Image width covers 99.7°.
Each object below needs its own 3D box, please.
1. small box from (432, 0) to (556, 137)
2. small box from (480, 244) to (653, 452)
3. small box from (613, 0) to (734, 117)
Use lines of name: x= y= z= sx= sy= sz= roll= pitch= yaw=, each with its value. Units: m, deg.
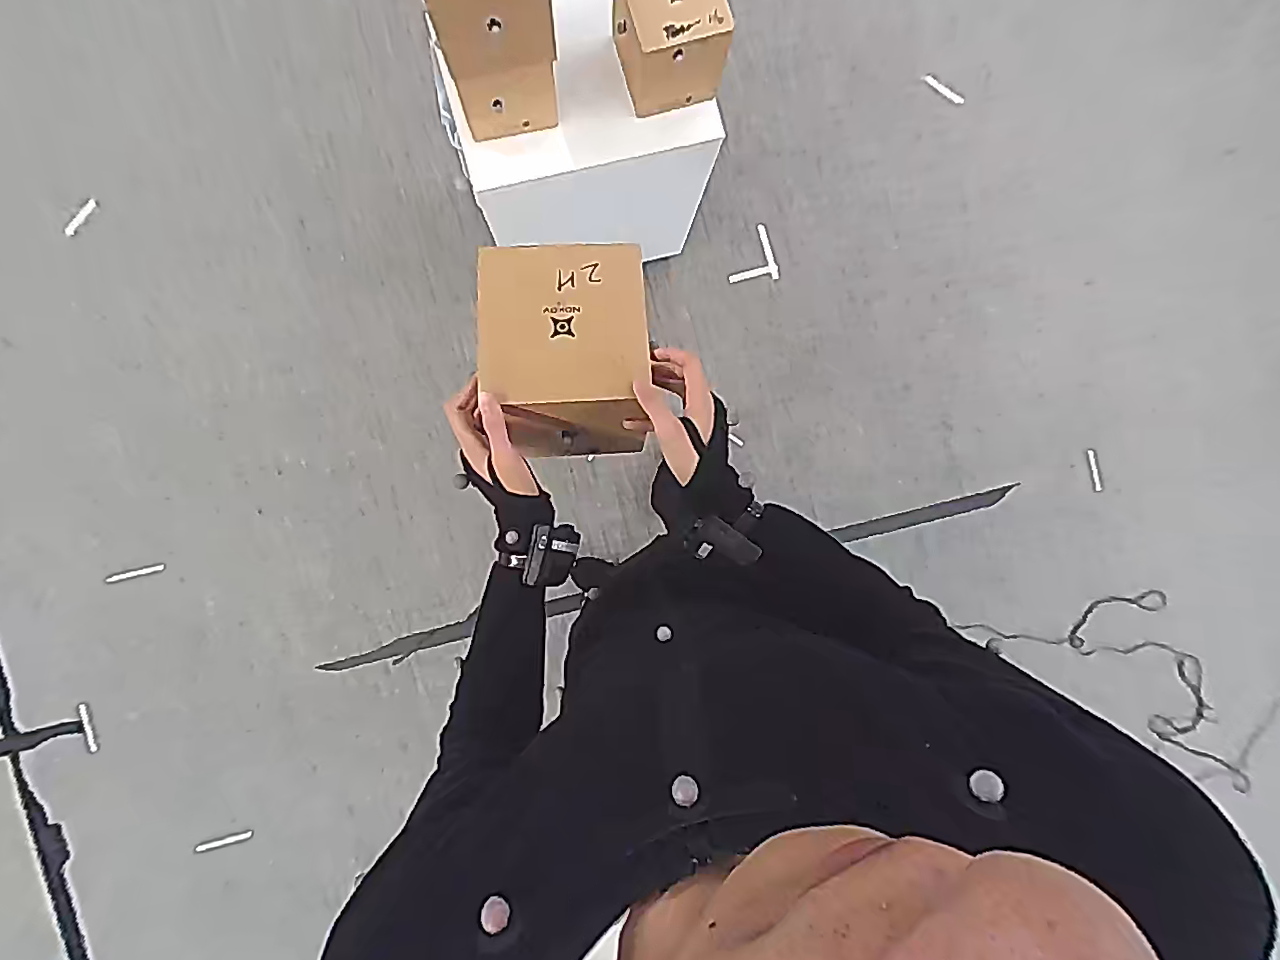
small box: x=-0.249 y=-0.739 z=0.953 sx=0.168 sy=0.176 sz=0.179 roll=-14 pitch=91 yaw=-5
small box: x=-0.077 y=-0.134 z=0.604 sx=0.168 sy=0.176 sz=0.179 roll=-3 pitch=74 yaw=-6
small box: x=0.051 y=-0.807 z=0.974 sx=0.168 sy=0.176 sz=0.179 roll=-17 pitch=91 yaw=-3
